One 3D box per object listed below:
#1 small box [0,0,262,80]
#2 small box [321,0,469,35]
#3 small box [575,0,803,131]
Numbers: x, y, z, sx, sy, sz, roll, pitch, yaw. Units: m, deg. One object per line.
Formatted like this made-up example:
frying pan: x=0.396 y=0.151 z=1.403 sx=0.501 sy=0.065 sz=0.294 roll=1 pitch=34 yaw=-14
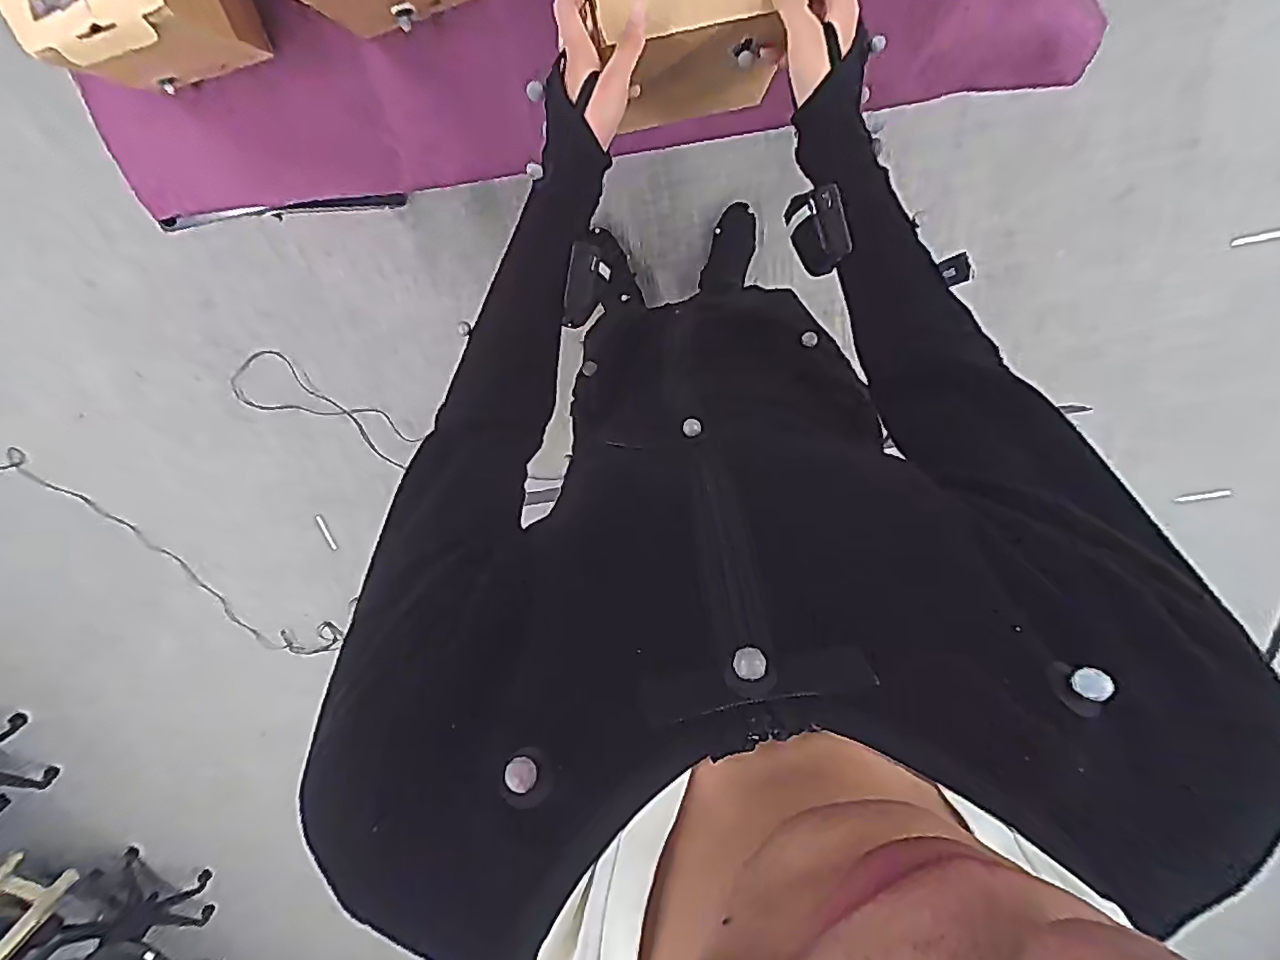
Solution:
small box: x=-0.557 y=-0.554 z=0.572 sx=0.168 sy=0.176 sz=0.179 roll=-12 pitch=115 yaw=6
small box: x=-0.287 y=-0.601 z=0.546 sx=0.168 sy=0.176 sz=0.179 roll=-13 pitch=116 yaw=9
small box: x=0.030 y=-0.461 z=0.505 sx=0.179 sy=0.176 sz=0.168 roll=-12 pitch=102 yaw=0
